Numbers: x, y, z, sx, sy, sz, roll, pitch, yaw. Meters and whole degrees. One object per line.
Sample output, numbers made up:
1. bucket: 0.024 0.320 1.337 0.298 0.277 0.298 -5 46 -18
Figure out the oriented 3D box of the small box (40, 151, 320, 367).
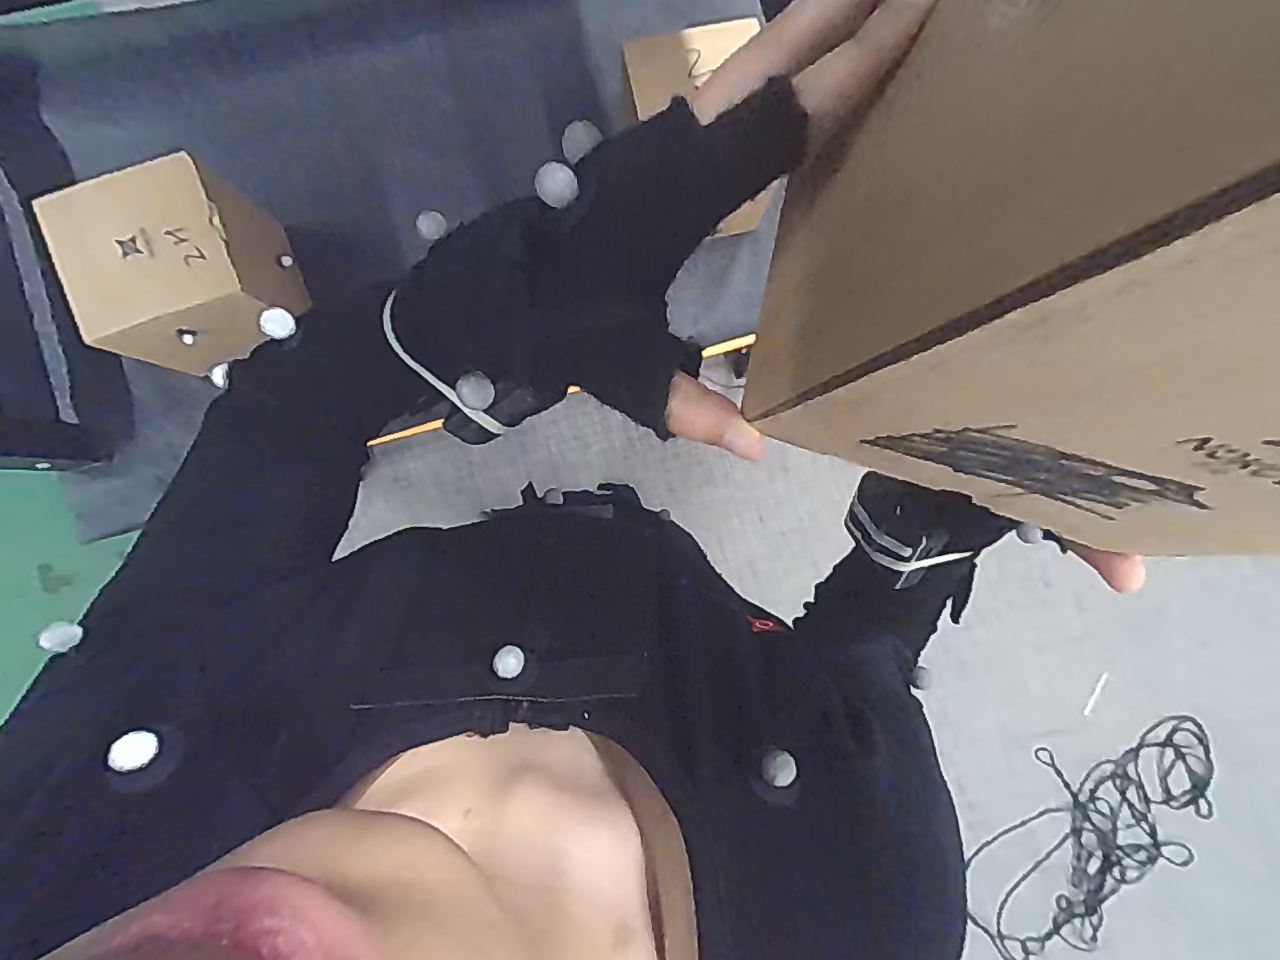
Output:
1. small box: -0.544 -0.255 0.666 0.179 0.176 0.168 -21 90 -4
